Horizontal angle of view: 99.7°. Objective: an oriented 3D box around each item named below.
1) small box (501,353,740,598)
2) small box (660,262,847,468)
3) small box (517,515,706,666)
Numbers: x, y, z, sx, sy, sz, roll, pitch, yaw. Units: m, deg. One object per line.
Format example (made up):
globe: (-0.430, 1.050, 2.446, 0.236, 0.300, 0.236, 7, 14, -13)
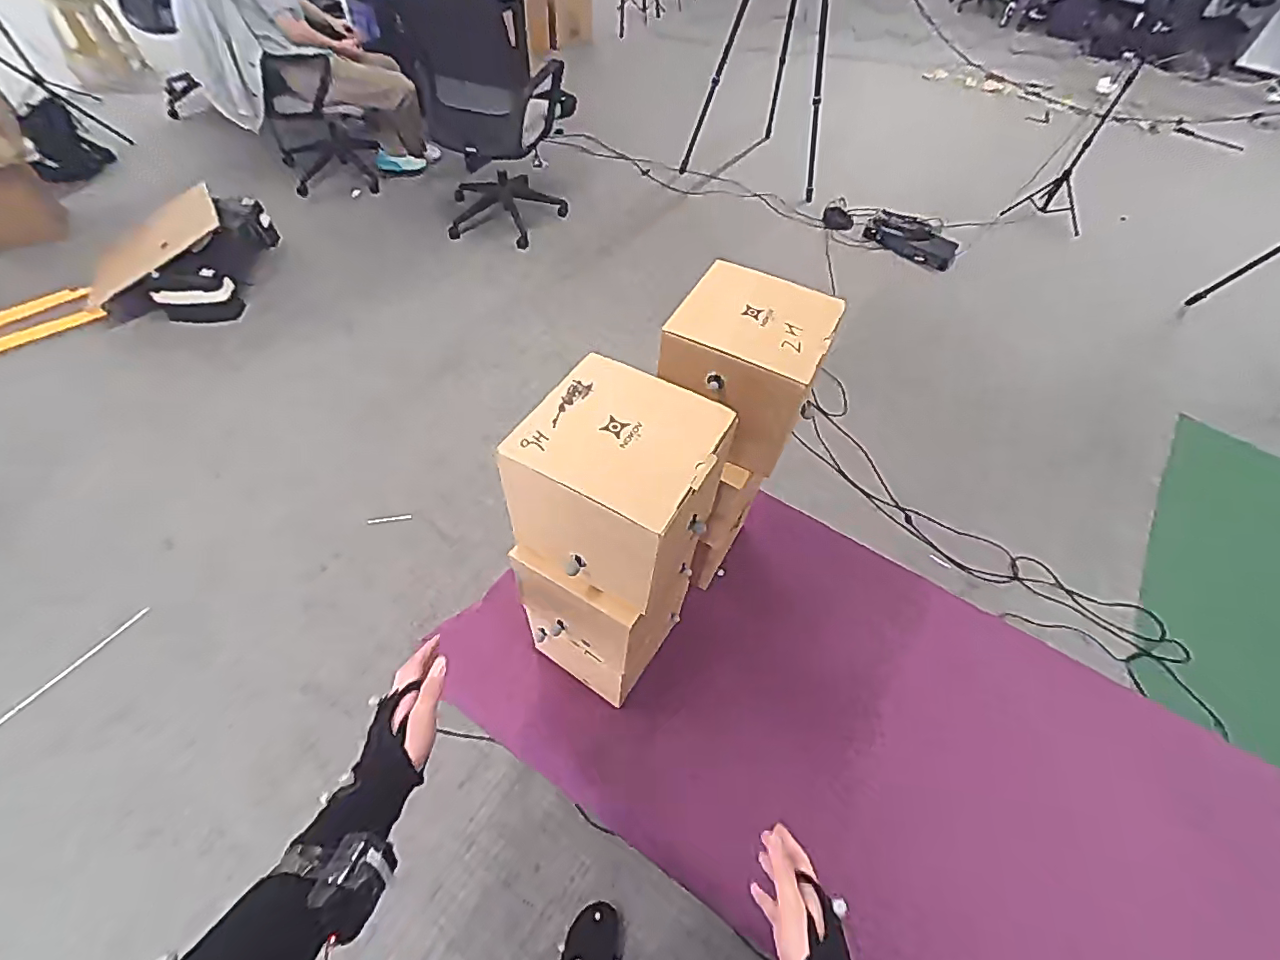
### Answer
small box: (-0.020, 0.003, 0.579, 0.179, 0.176, 0.168, 27, 56, 14)
small box: (0.133, -0.143, 0.694, 0.179, 0.176, 0.168, 25, 57, 13)
small box: (-0.036, 0.108, 0.704, 0.168, 0.176, 0.179, 27, 57, 16)
